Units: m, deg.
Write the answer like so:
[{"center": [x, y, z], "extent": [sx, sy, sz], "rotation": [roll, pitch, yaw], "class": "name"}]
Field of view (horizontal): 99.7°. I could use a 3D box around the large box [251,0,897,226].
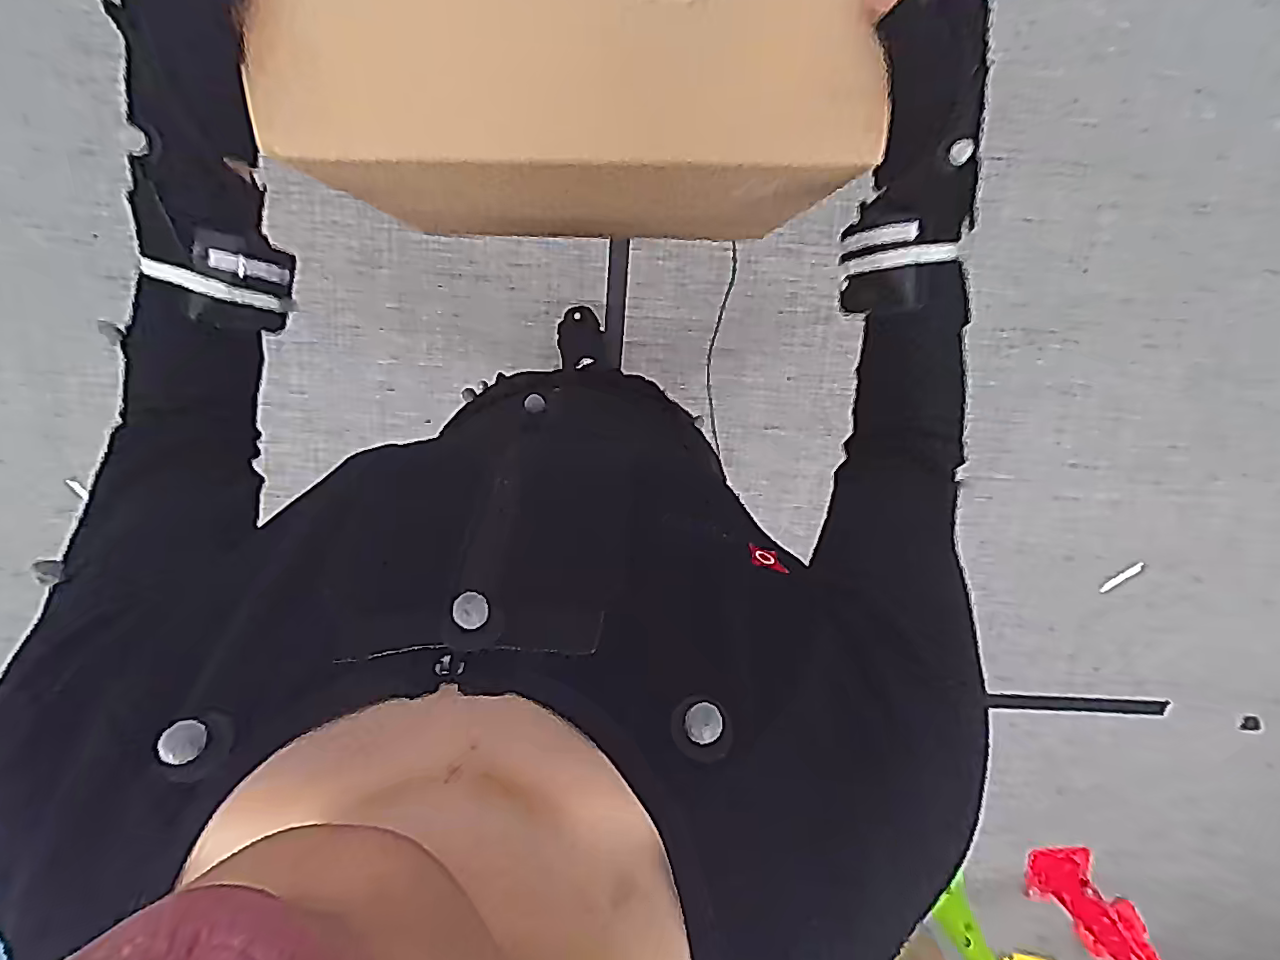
[{"center": [-0.046, -0.411, 0.454], "extent": [0.408, 0.320, 0.320], "rotation": [-1, 106, -3], "class": "large box"}]
